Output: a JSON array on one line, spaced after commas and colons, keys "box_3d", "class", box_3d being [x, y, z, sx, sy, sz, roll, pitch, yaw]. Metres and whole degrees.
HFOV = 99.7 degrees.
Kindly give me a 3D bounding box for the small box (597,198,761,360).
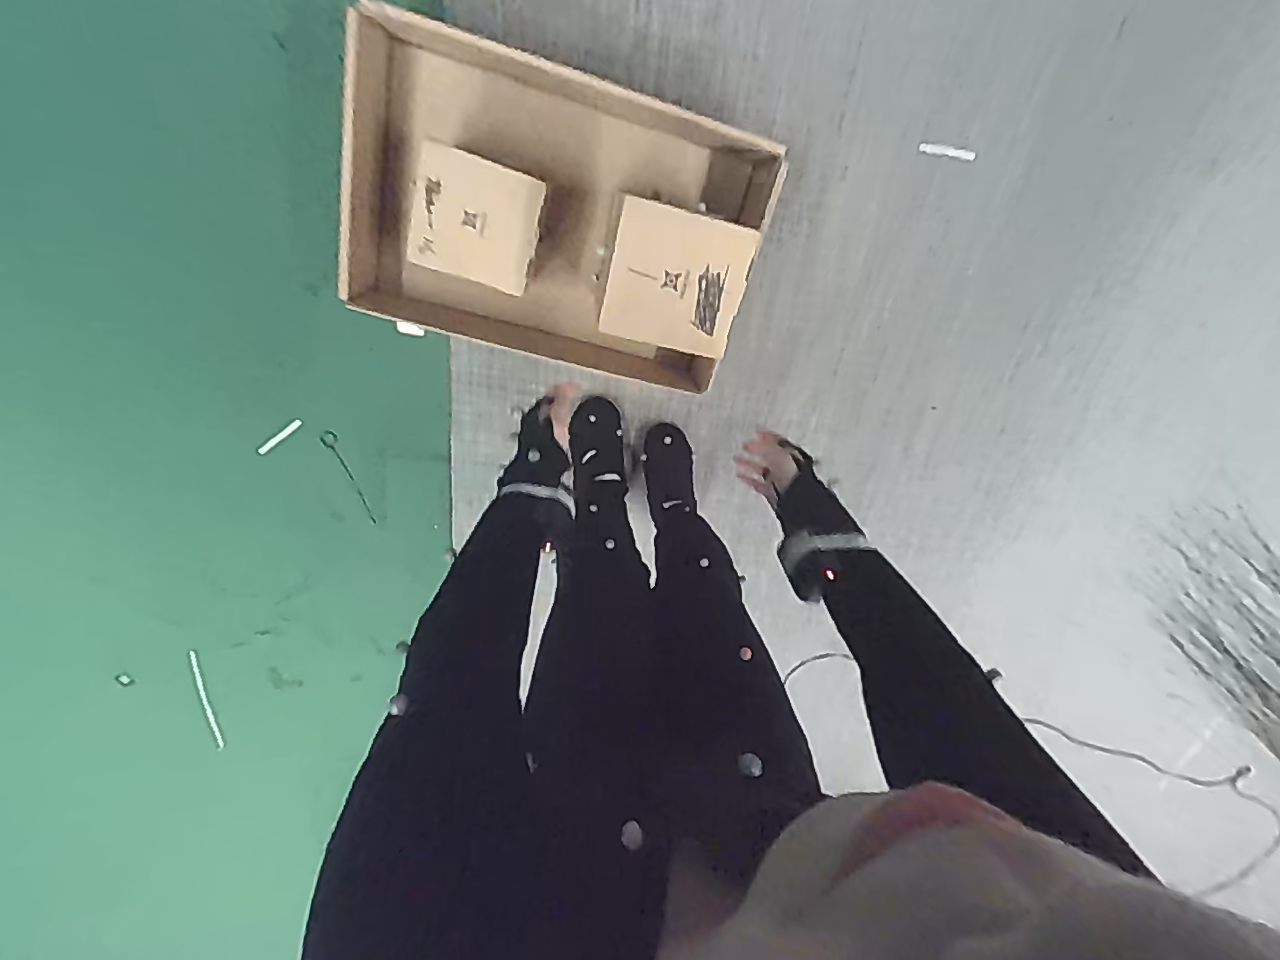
[{"box_3d": [0.041, -0.285, 0.754, 0.179, 0.176, 0.168, 11, 117, -10], "class": "small box"}]
